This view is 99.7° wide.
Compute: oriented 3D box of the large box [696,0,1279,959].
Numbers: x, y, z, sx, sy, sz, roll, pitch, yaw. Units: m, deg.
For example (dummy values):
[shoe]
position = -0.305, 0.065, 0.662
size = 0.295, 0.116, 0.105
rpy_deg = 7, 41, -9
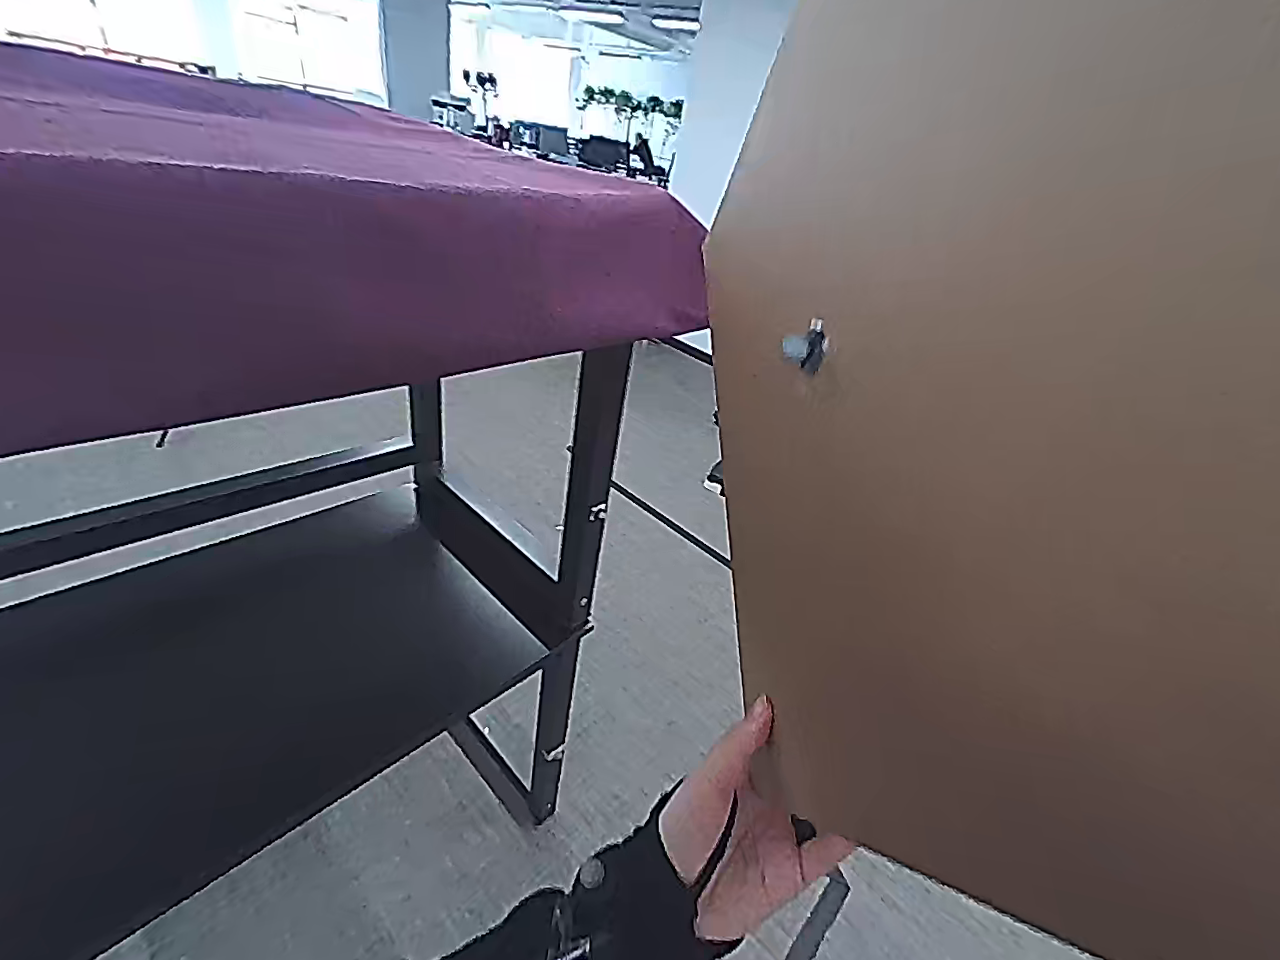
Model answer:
[large box]
position = 0.227, -0.068, 0.265
size = 0.320, 0.320, 0.408
rpy_deg = 2, 68, -11
